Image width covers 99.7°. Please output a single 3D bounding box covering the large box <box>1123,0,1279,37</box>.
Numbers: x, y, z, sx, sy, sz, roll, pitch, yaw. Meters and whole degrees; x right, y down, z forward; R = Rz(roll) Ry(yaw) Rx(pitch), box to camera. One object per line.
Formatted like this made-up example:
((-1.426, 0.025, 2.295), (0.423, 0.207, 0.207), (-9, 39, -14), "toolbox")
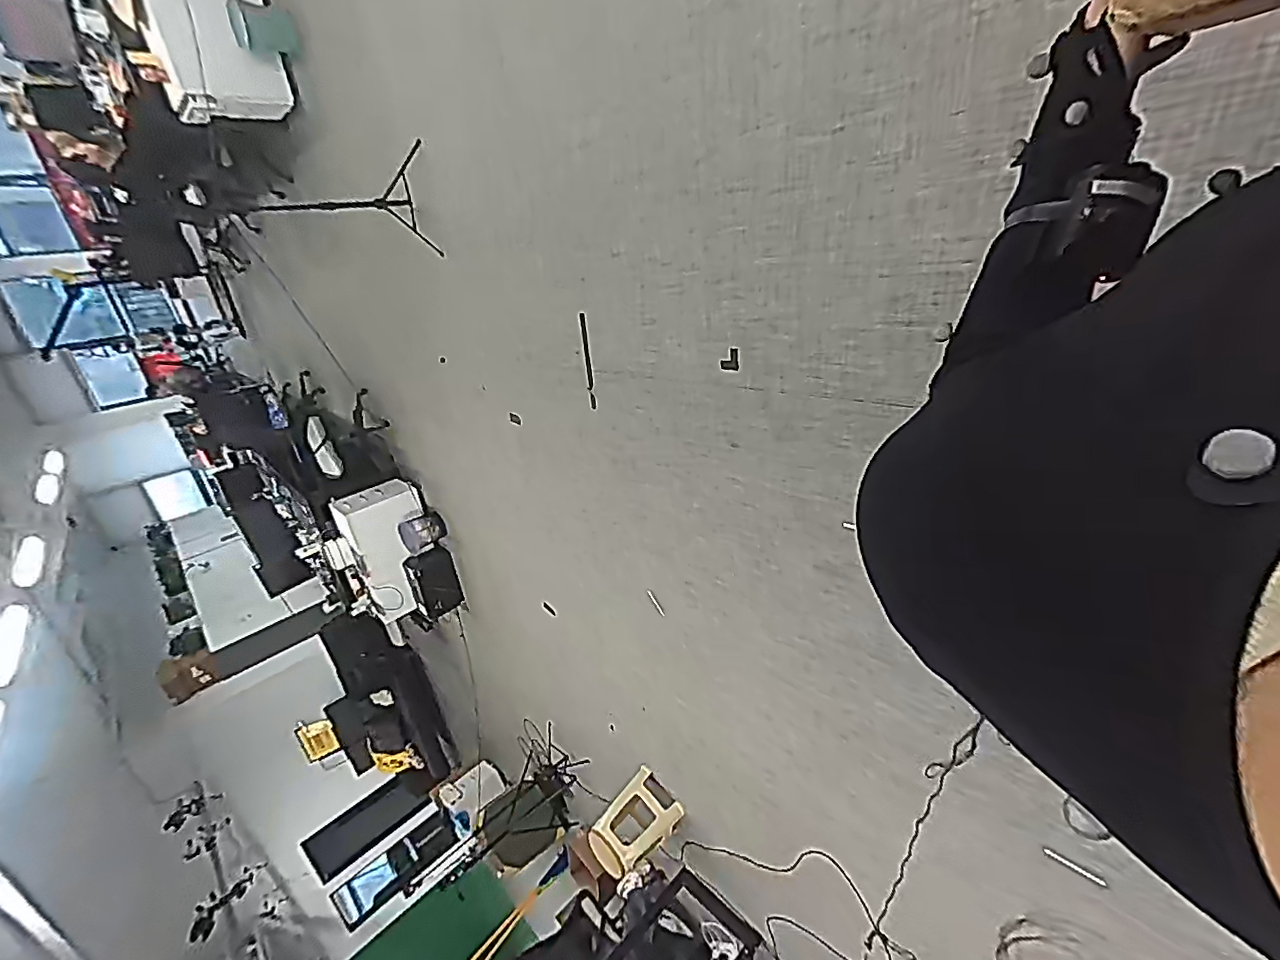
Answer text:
((0.403, -0.368, 0.121), (0.408, 0.320, 0.320), (11, 127, 42), "large box")
